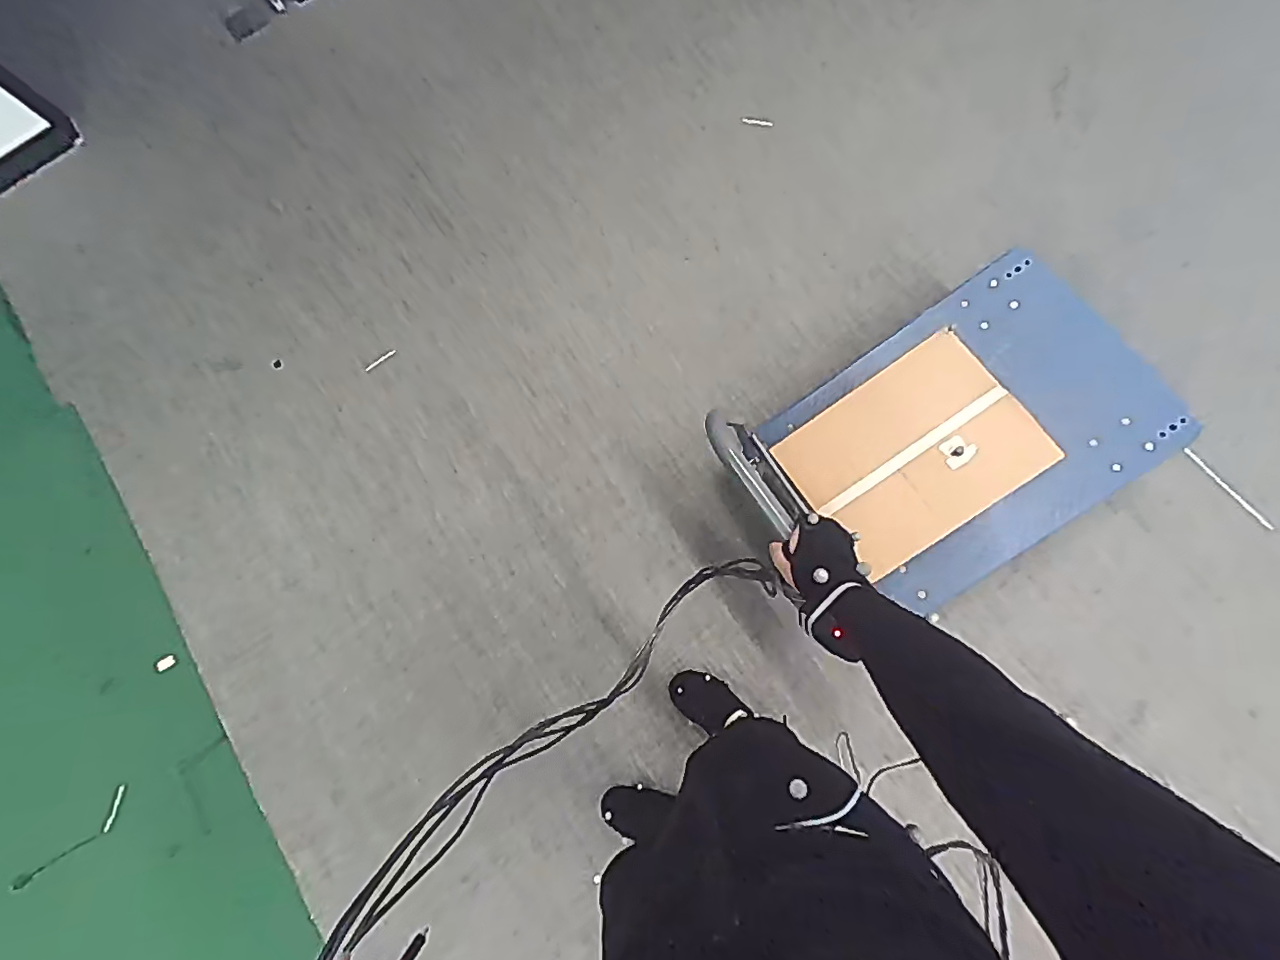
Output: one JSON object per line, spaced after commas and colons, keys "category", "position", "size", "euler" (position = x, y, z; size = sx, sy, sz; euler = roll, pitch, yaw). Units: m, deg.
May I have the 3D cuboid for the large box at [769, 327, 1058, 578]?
{"category": "large box", "position": [0.529, -0.033, 1.149], "size": [0.408, 0.320, 0.320], "euler": [-36, 78, 5]}
